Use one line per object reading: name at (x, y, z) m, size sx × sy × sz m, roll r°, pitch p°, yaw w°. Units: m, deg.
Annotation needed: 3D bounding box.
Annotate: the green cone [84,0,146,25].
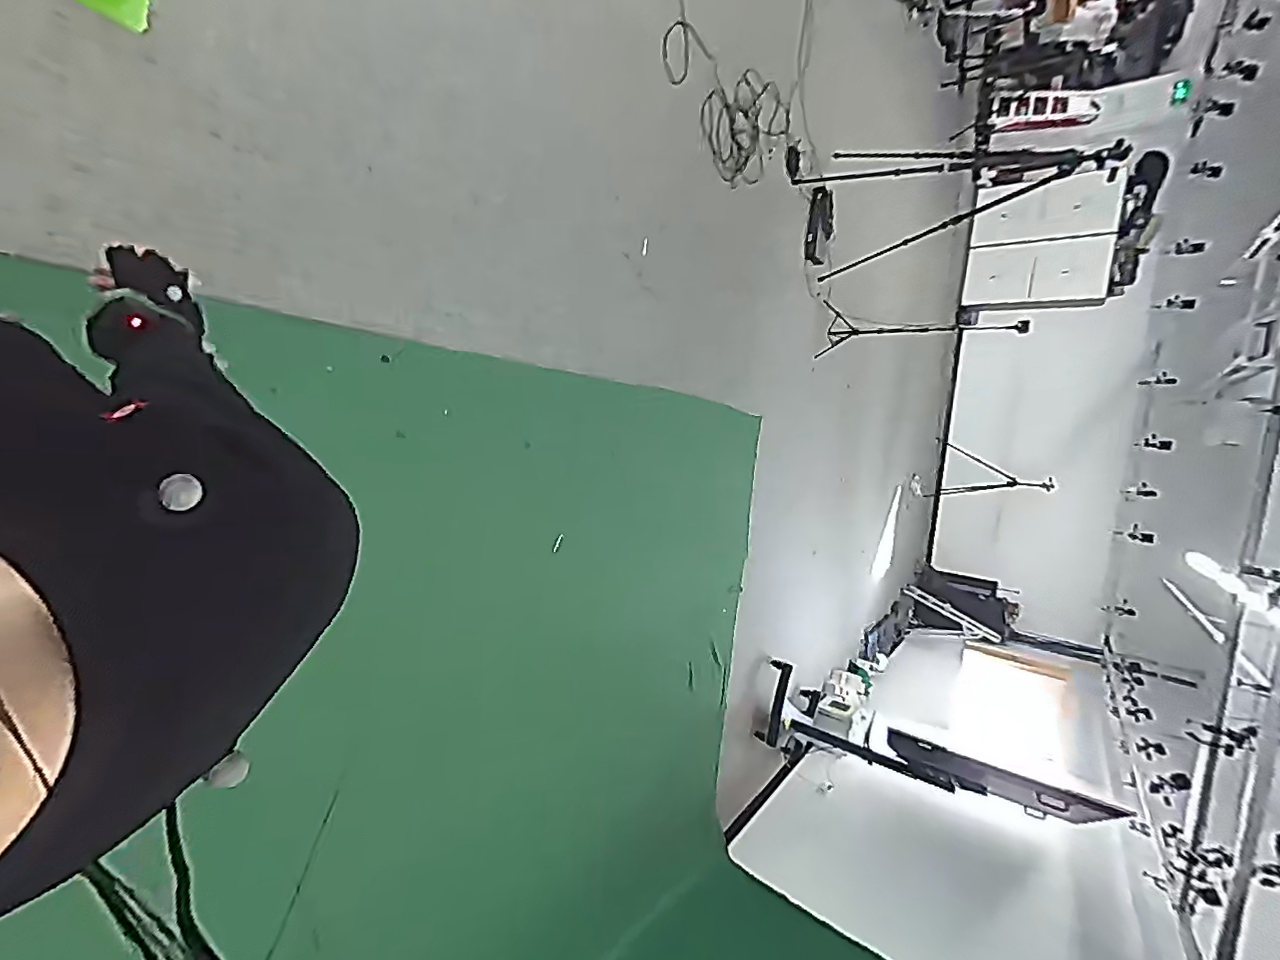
green cone at (-0.901, -0.976, 0.892) m, size 0.200 × 0.368 × 0.202 m, roll 3°, pitch 94°, yaw -54°
